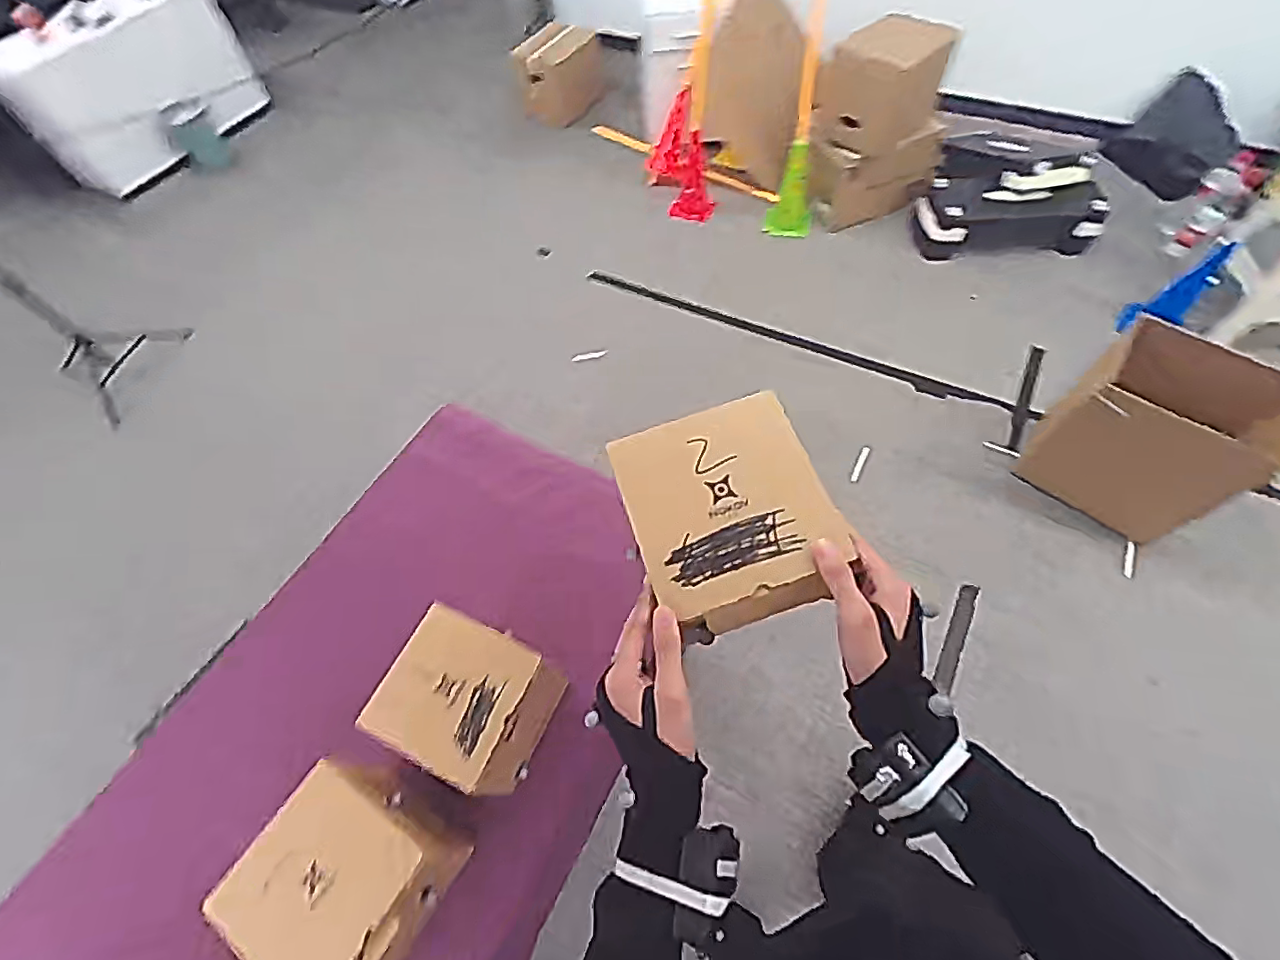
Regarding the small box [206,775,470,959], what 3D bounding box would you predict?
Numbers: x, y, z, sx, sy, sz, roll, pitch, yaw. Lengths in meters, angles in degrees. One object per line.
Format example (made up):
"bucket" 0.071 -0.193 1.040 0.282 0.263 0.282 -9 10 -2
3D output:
"small box" -0.333 0.477 0.636 0.179 0.176 0.168 27 64 19
